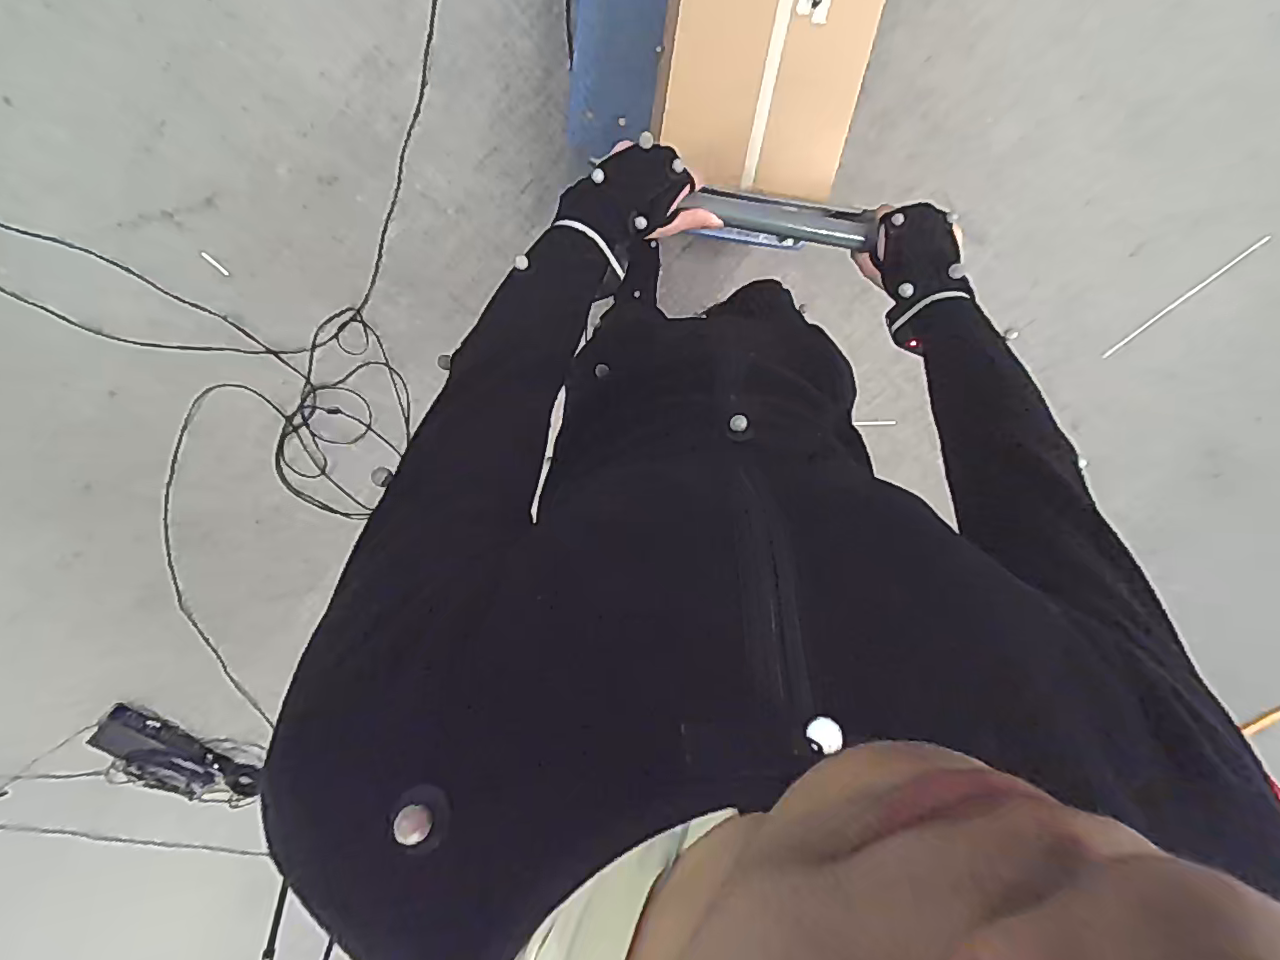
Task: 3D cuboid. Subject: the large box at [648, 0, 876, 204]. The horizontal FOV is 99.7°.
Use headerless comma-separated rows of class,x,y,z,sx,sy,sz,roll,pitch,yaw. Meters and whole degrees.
large box,0.197,-0.754,1.001,0.320,0.320,0.408,6,117,-8
